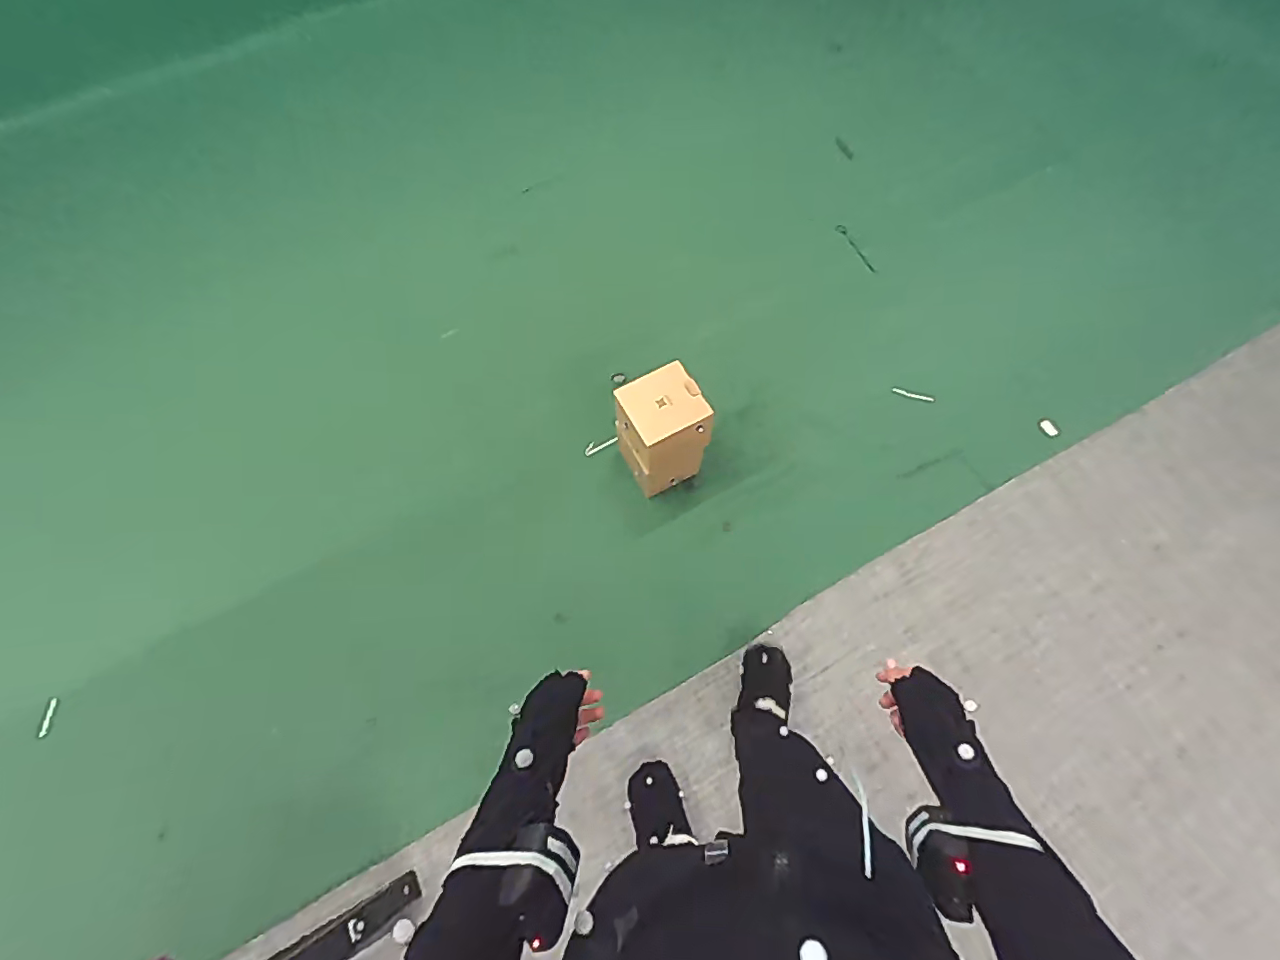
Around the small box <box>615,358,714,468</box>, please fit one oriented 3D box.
[{"bbox_3d":[0.058,-0.154,1.299,0.179,0.176,0.168,-28,70,-9],"label":"small box"}]
